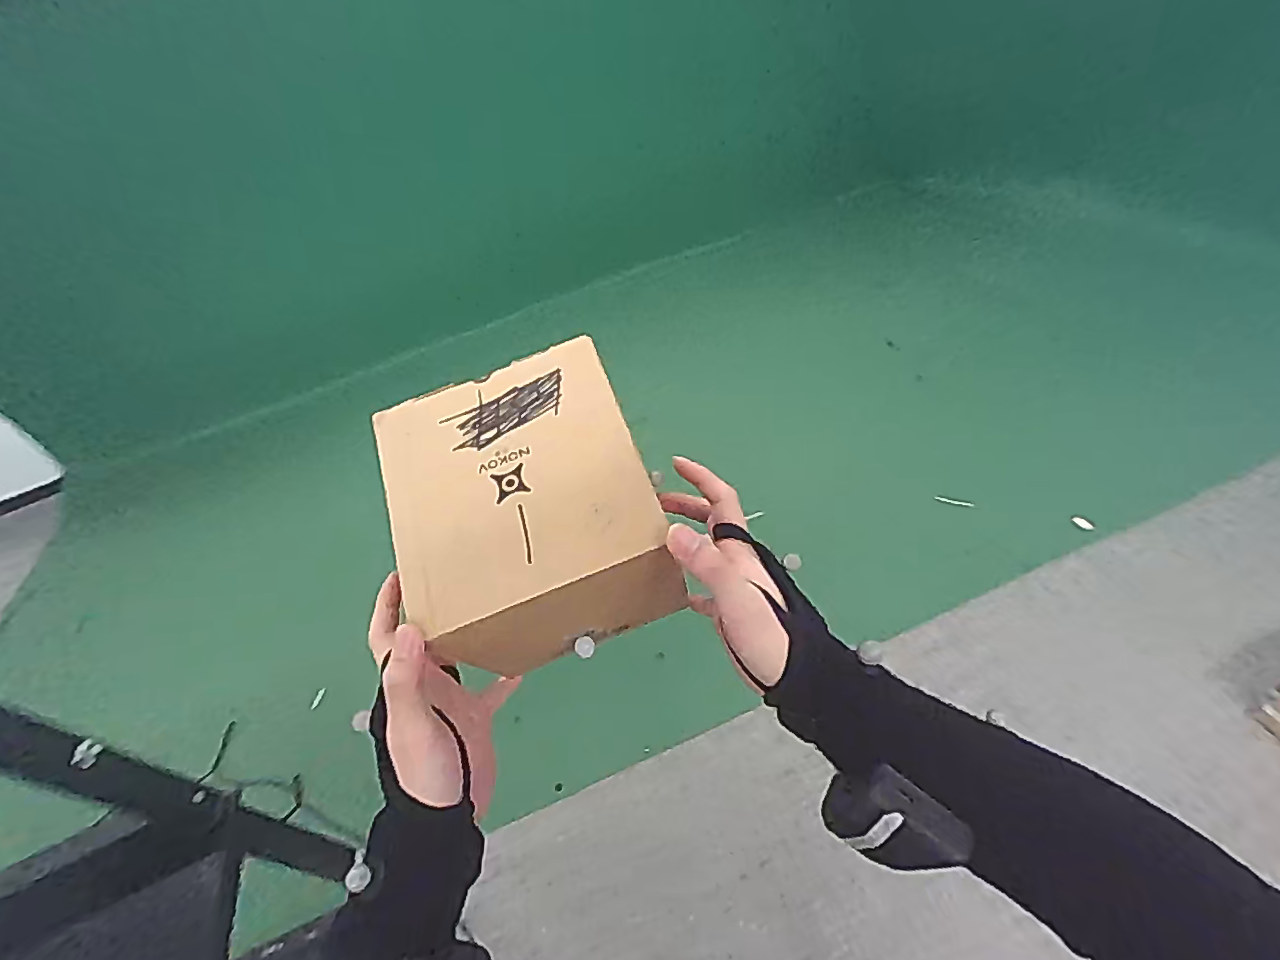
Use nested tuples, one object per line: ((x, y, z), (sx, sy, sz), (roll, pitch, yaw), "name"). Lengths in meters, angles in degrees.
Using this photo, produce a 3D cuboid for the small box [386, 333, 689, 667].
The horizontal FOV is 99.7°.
((-0.069, 0.026, 0.422), (0.168, 0.176, 0.179), (-21, 63, -2), "small box")
